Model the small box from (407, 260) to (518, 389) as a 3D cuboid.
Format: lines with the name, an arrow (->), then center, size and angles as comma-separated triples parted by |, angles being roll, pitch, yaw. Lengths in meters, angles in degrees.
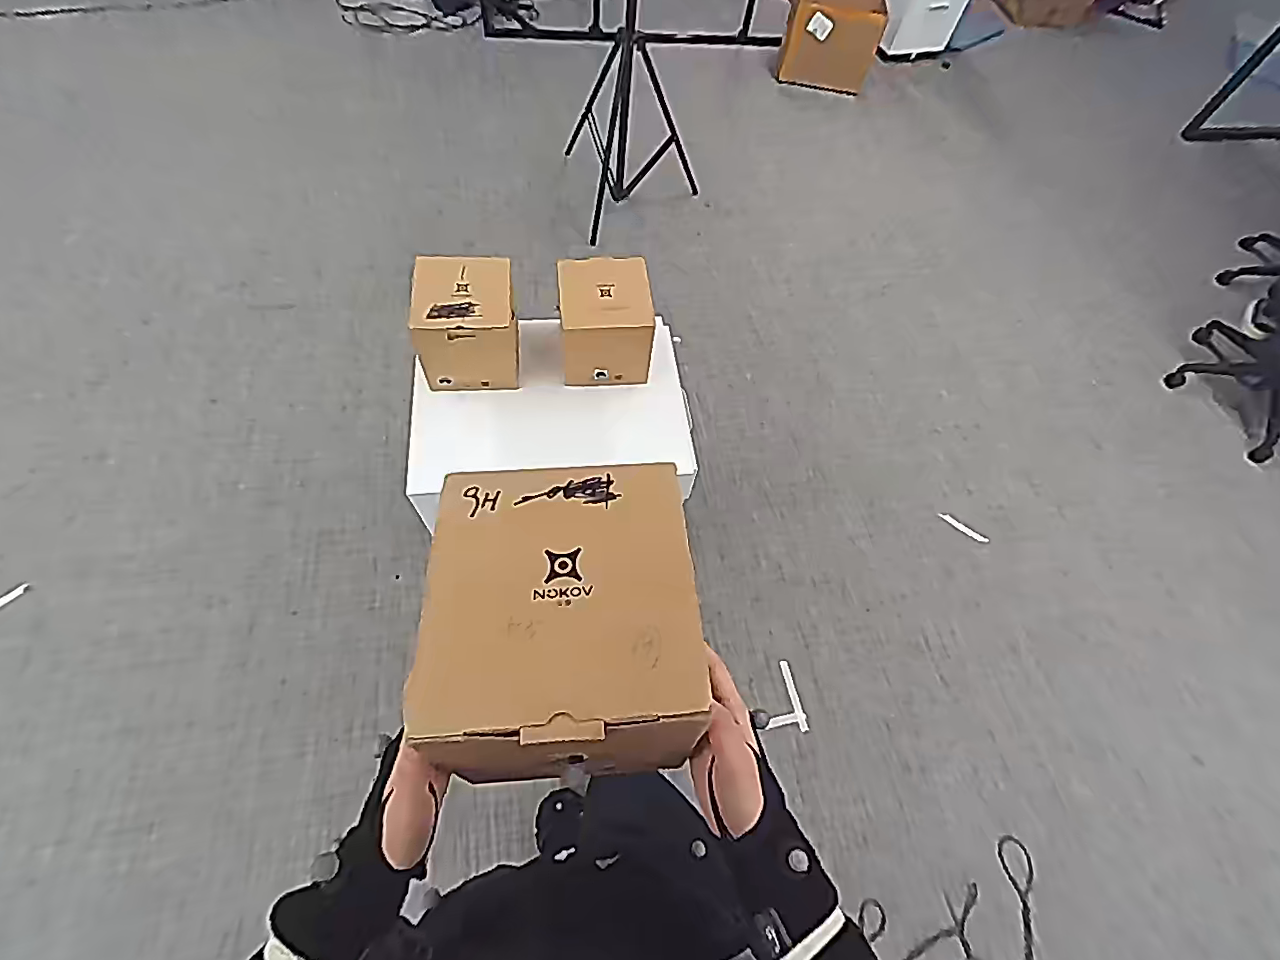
small box -> -0.318, -0.281, 1.002 | 0.168, 0.176, 0.179 | -3, 62, -9

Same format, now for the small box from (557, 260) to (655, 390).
small box -> -0.071, -0.295, 1.041 | 0.168, 0.176, 0.179 | -5, 64, -8

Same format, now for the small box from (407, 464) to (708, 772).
small box -> -0.051, 0.109, 0.400 | 0.168, 0.176, 0.179 | -3, 55, -5
